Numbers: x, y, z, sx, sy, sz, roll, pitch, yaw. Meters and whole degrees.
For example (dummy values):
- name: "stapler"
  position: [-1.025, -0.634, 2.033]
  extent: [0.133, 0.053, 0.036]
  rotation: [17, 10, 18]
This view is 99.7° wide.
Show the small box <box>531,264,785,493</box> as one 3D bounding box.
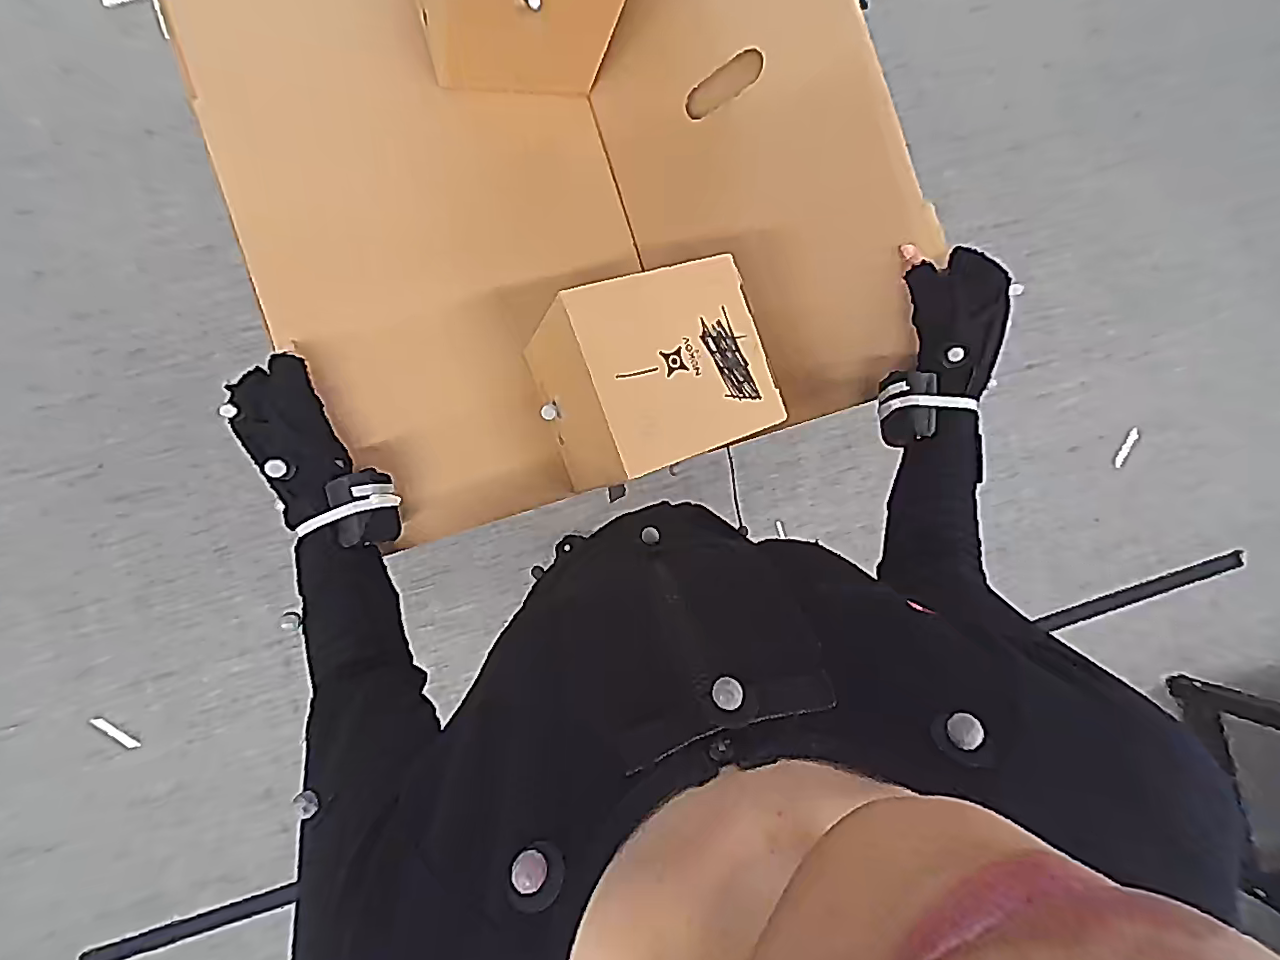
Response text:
- name: "small box"
  position: [0.008, -0.093, 0.551]
  extent: [0.179, 0.176, 0.168]
  rotation: [-21, 93, -22]

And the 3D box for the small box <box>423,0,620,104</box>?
- name: "small box"
  position: [-0.127, -0.518, 0.545]
  extent: [0.179, 0.176, 0.168]
  rotation: [-15, 90, -23]
